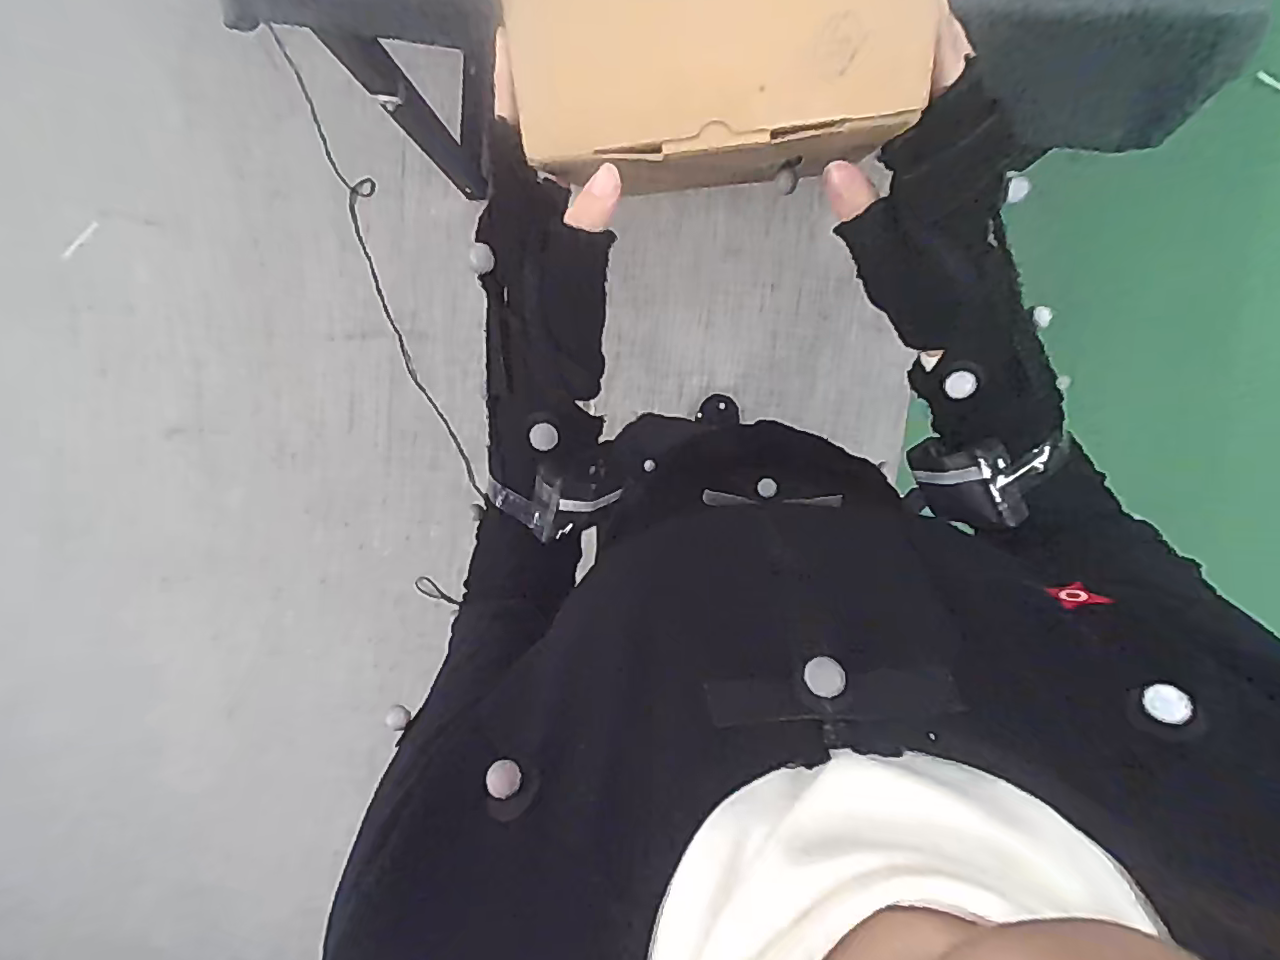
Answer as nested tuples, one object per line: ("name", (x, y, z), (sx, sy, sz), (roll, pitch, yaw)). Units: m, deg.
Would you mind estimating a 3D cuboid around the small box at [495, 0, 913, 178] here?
("small box", (0.031, -0.259, 0.267), (0.168, 0.176, 0.179), (-1, 112, 10))
